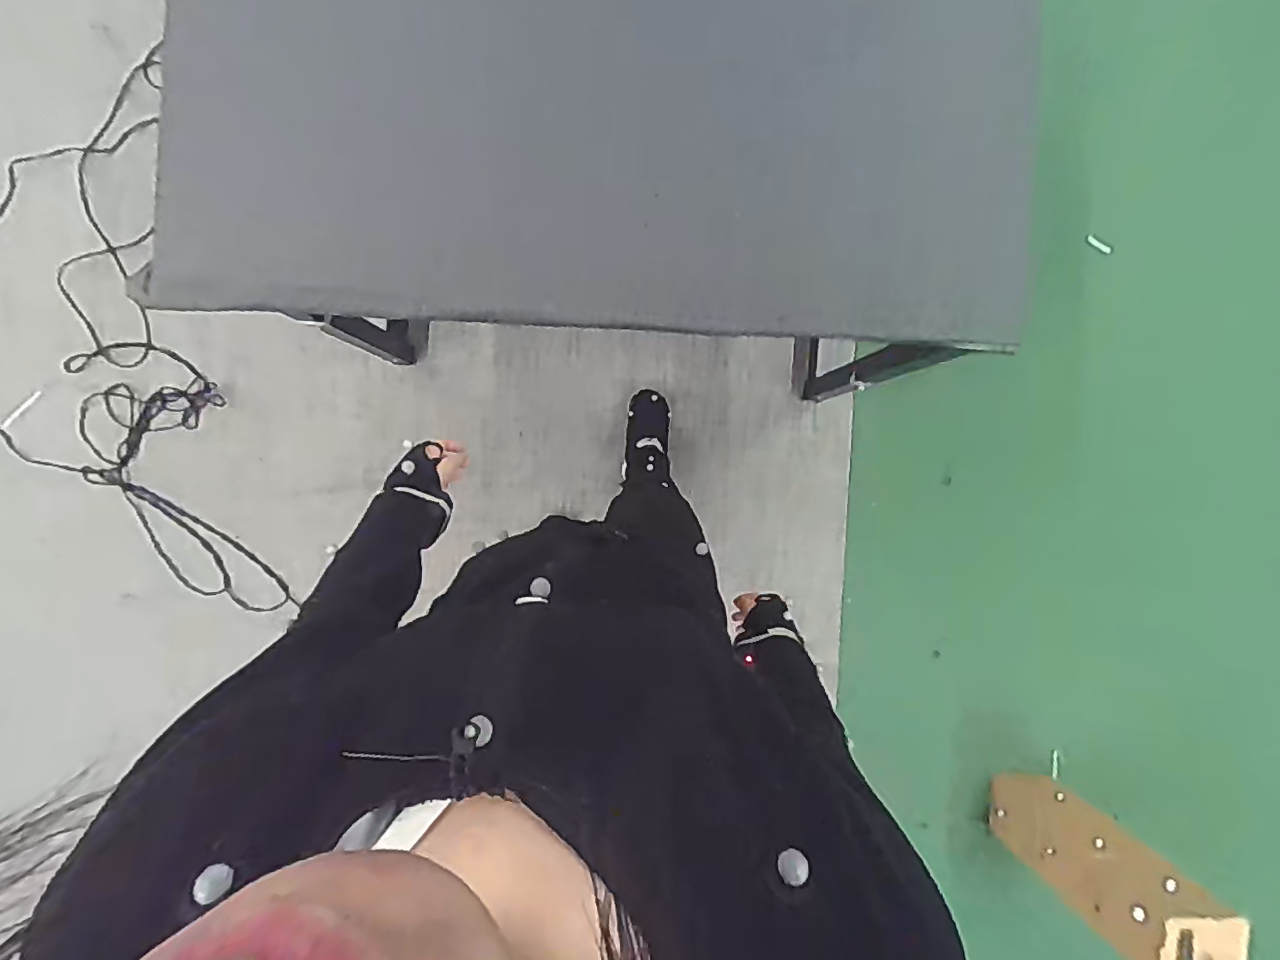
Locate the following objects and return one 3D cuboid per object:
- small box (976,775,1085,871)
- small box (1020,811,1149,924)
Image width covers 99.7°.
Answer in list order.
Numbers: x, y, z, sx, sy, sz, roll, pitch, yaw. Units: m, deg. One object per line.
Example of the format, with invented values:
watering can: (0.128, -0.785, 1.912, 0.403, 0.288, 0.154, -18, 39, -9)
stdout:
small box: (1.074, 0.942, 1.495, 0.179, 0.176, 0.168, 3, 90, -5)
small box: (1.089, 0.946, 1.333, 0.179, 0.176, 0.168, 2, 91, -4)
